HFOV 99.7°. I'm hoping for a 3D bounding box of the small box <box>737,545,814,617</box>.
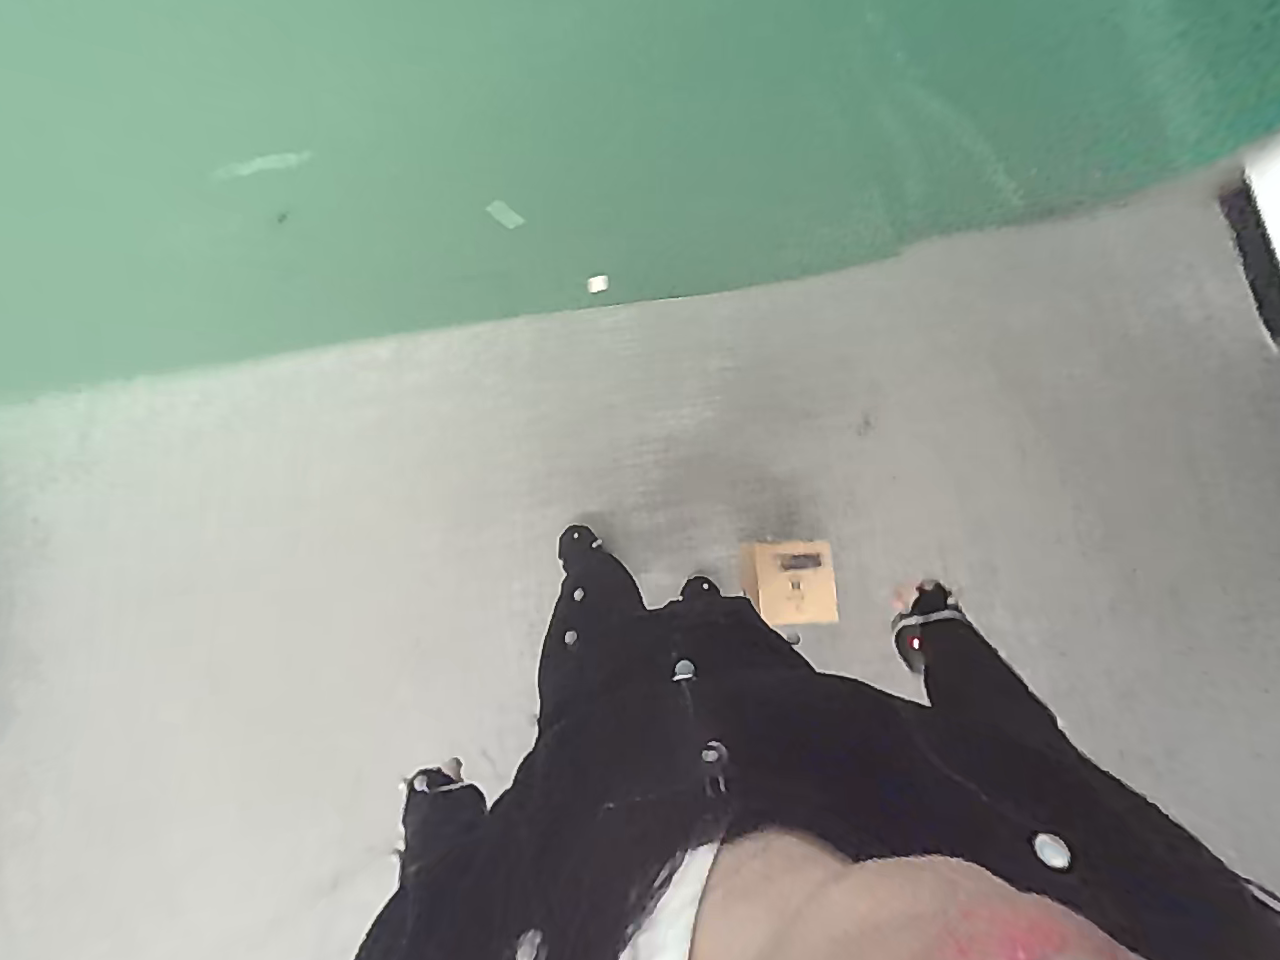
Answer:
[{"bbox_3d":[0.348,0.259,1.408,0.168,0.176,0.179,-1,82,2],"label":"small box"}]
